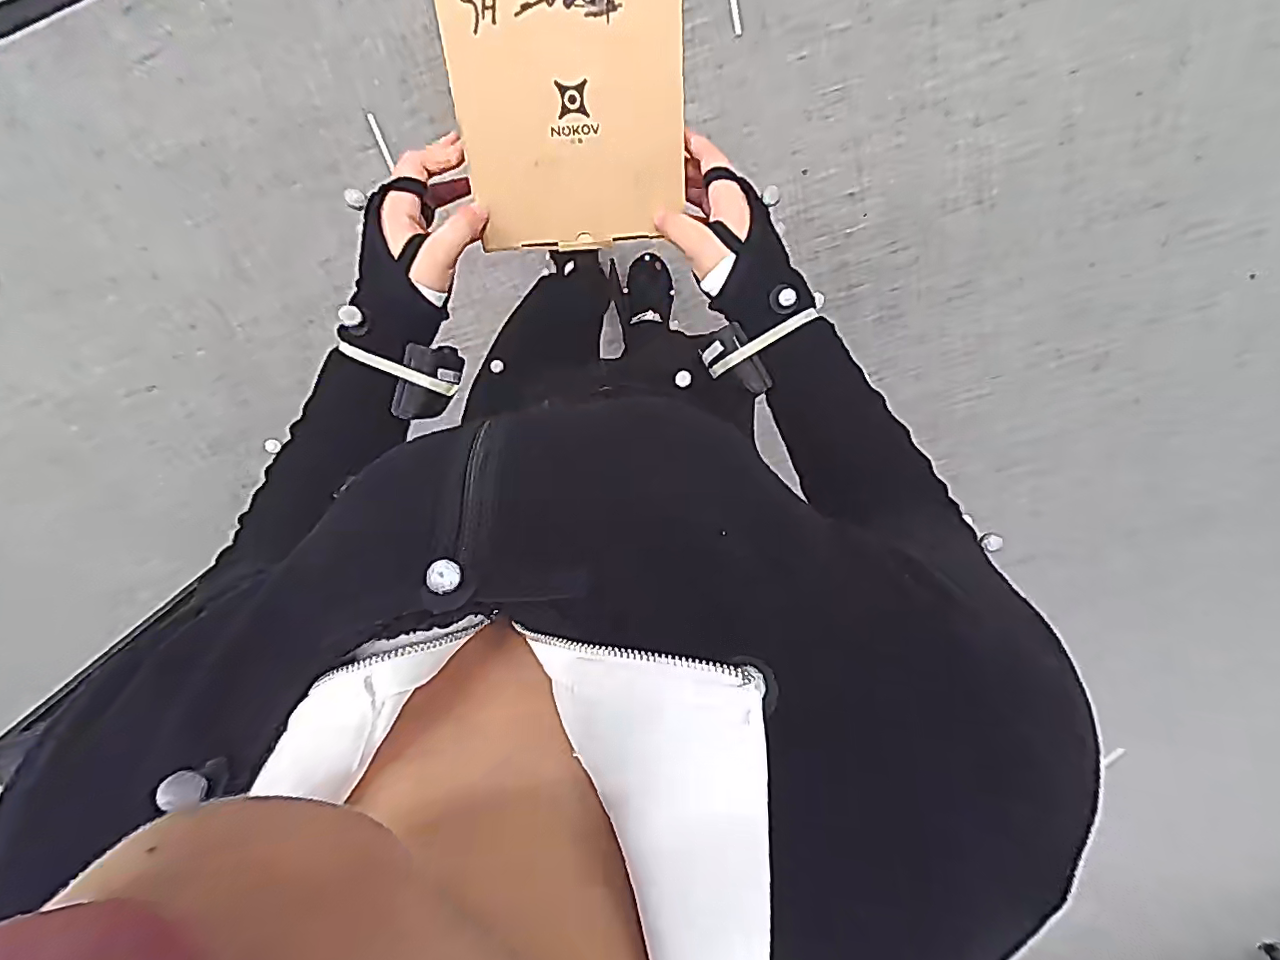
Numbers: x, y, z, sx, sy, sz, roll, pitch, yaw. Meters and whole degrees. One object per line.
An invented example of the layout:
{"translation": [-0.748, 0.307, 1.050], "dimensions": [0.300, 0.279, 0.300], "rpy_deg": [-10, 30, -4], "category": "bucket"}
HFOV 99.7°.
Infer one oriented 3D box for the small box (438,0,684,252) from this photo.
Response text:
{"translation": [-0.056, -0.306, 0.461], "dimensions": [0.168, 0.176, 0.179], "rpy_deg": [-6, 122, -4], "category": "small box"}
